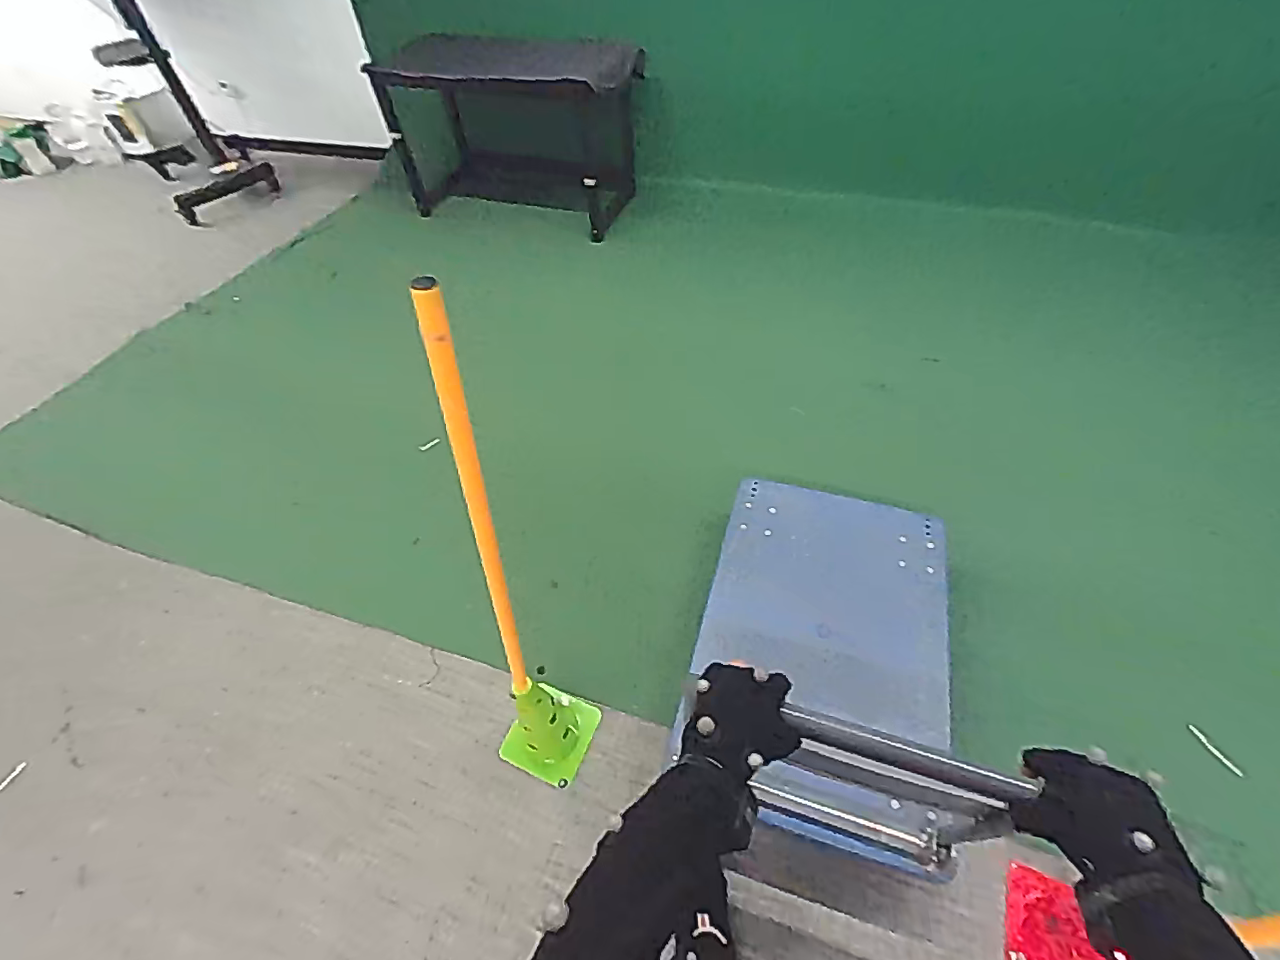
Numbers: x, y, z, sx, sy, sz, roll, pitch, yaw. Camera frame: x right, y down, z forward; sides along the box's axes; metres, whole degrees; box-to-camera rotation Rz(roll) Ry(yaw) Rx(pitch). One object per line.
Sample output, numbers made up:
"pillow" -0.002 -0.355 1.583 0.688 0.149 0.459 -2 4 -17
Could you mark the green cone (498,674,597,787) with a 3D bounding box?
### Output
"green cone" -0.240 0.529 1.239 0.202 0.368 0.200 16 52 17
